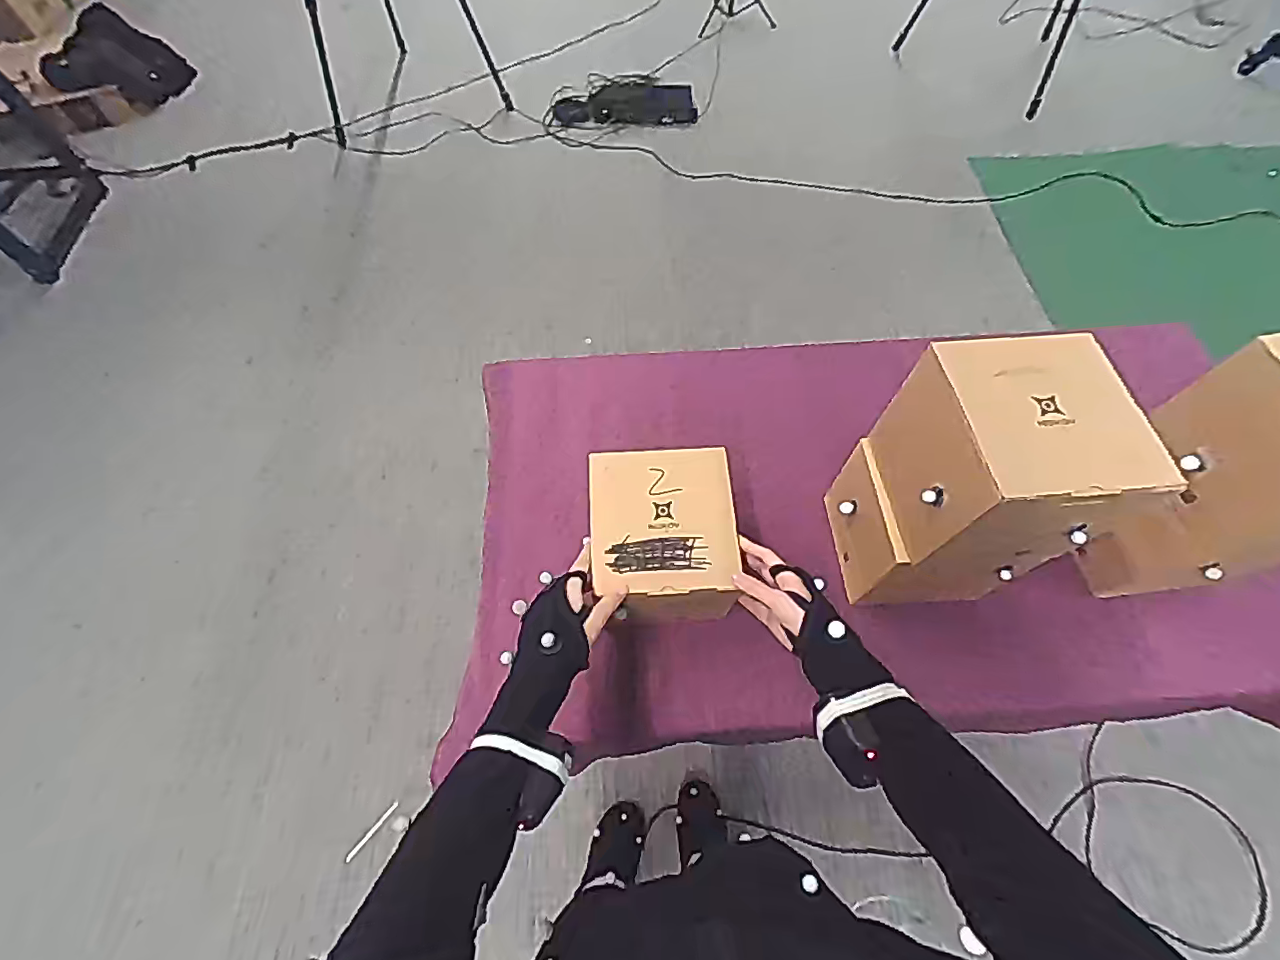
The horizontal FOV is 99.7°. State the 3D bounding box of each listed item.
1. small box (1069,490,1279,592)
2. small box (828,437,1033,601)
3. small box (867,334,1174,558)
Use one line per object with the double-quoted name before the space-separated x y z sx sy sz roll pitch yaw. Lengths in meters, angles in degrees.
"small box" 0.686 0.038 0.705 0.179 0.176 0.168 -6 61 -2
"small box" 0.359 0.054 0.705 0.179 0.176 0.168 -3 60 -2
"small box" 0.365 -0.026 0.563 0.168 0.176 0.179 -4 60 -3
